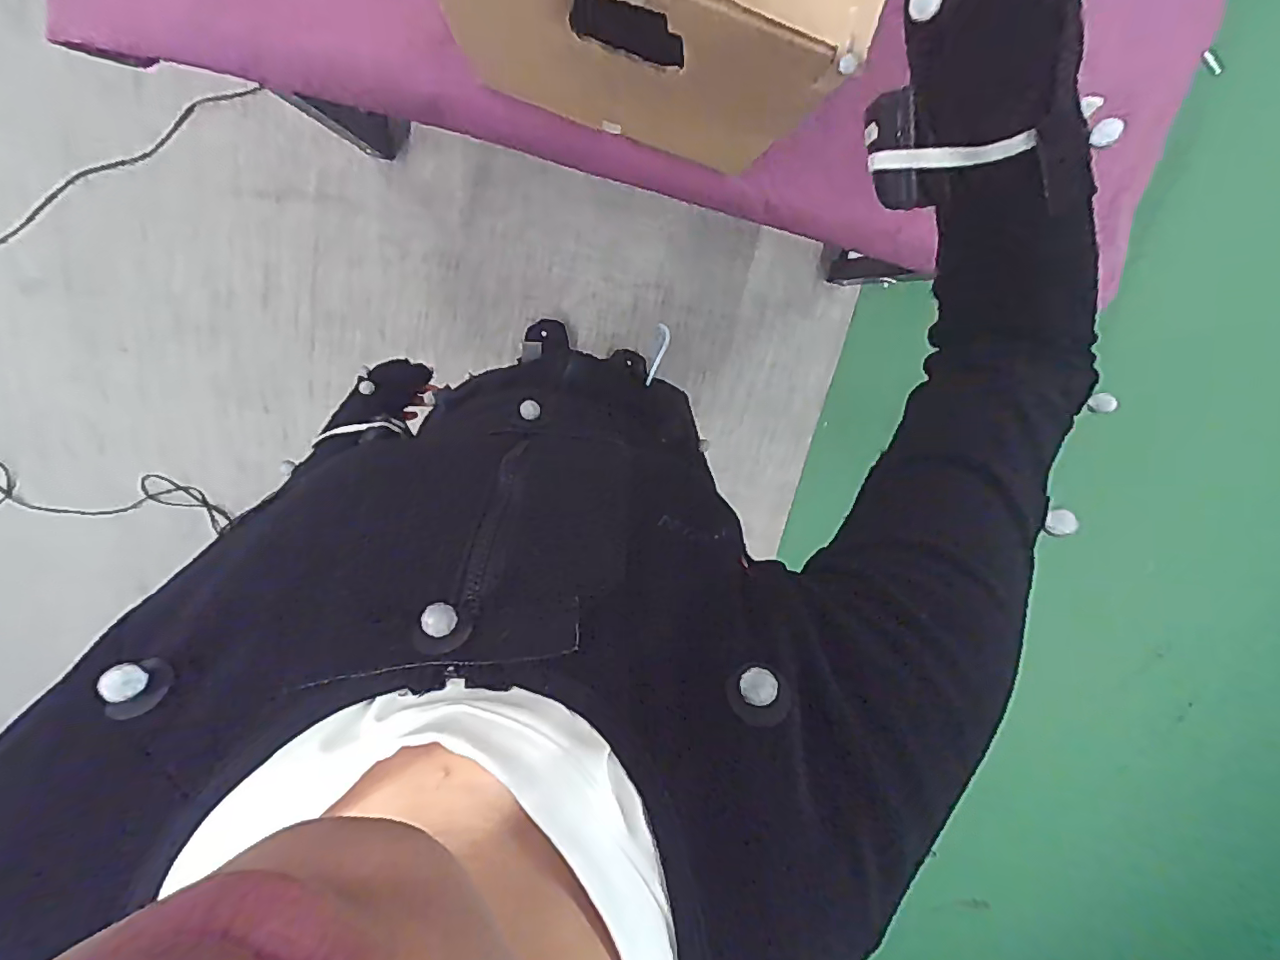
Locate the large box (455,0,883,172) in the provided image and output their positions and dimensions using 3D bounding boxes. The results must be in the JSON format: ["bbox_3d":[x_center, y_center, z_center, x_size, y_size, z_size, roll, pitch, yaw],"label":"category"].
[{"bbox_3d":[0.042,-0.543,0.438,0.320,0.320,0.408,14,106,-9],"label":"large box"}]
